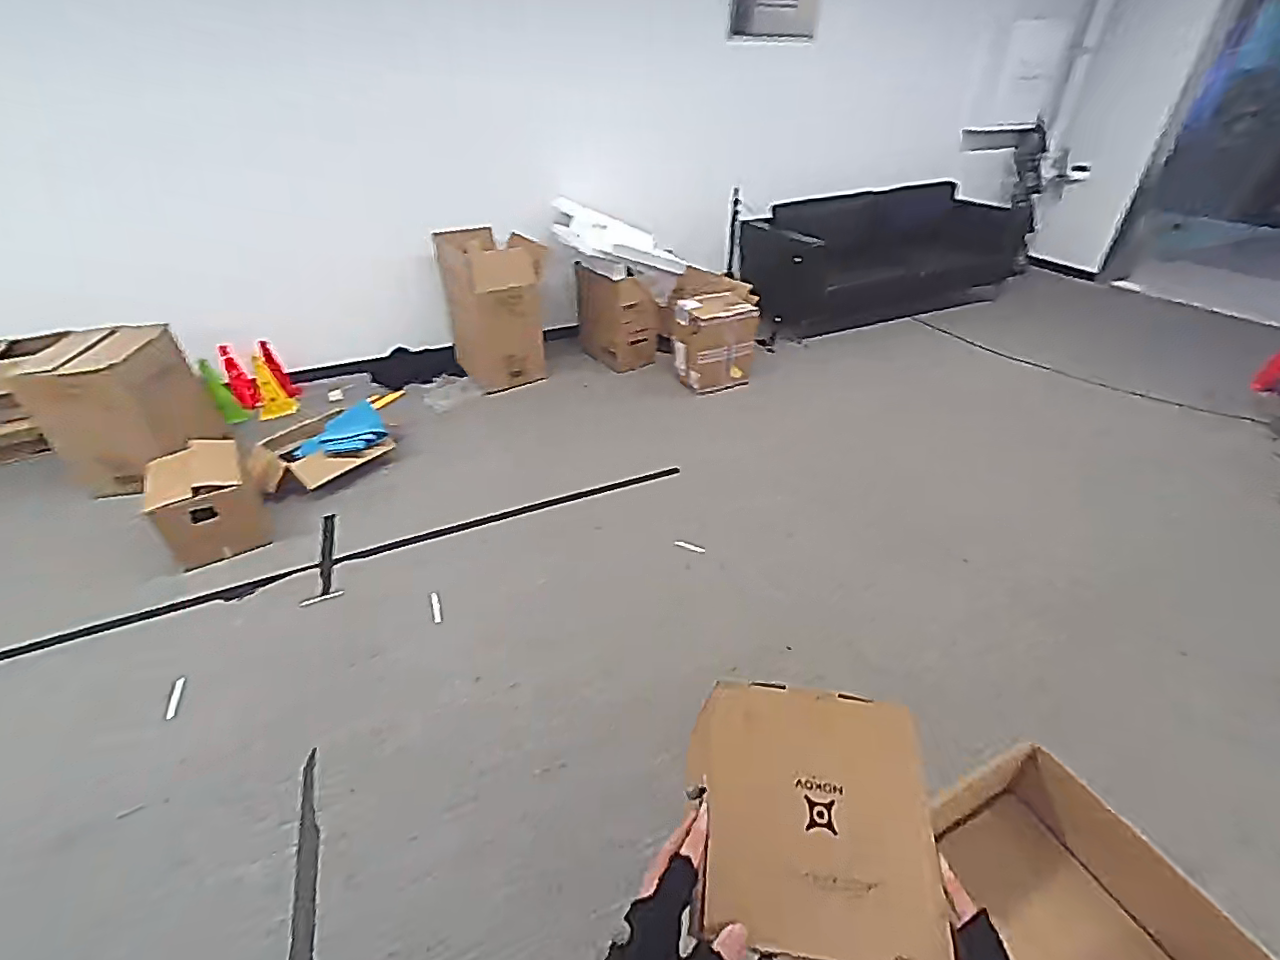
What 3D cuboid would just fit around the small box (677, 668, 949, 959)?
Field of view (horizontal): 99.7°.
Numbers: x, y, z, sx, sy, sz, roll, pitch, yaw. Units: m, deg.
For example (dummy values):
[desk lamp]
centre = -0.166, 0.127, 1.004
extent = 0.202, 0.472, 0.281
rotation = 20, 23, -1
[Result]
[small box]
centre = 0.125, 0.287, 0.463
extent = 0.168, 0.176, 0.179
rotation = 7, 51, 3
